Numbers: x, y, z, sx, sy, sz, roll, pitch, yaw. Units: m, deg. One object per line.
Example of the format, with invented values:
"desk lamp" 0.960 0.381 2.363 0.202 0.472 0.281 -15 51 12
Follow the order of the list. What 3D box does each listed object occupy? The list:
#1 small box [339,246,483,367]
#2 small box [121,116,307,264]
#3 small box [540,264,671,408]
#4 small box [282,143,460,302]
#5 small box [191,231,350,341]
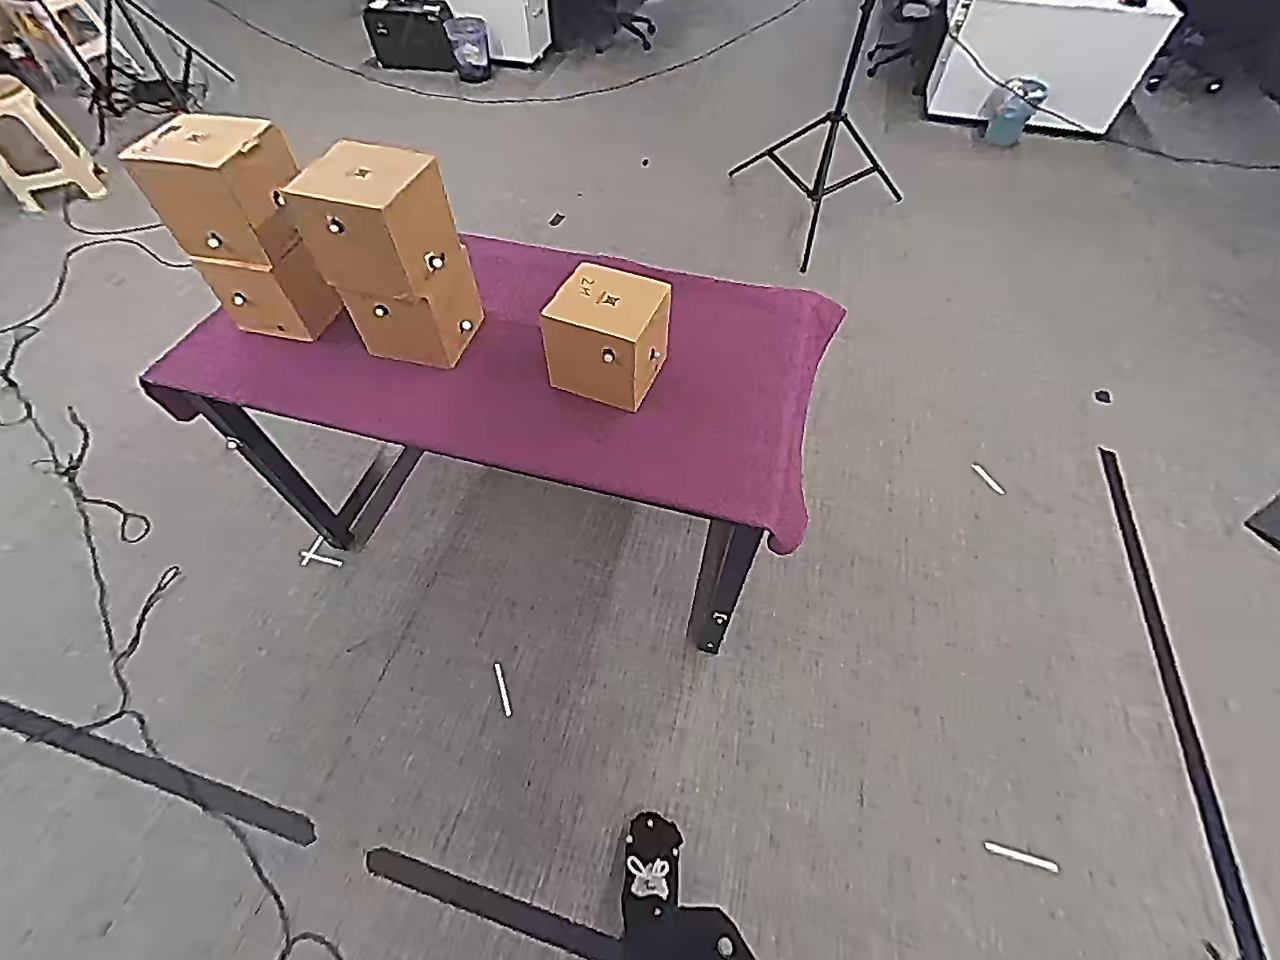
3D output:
"small box" -0.427 -0.339 1.036 0.179 0.176 0.168 12 56 6
"small box" -0.714 -0.501 0.945 0.179 0.176 0.168 9 55 4
"small box" -0.057 -0.255 0.982 0.179 0.176 0.168 19 56 12
"small box" -0.429 -0.421 0.896 0.179 0.176 0.168 14 57 7
"small box" -0.713 -0.400 1.075 0.168 0.176 0.179 10 55 6
